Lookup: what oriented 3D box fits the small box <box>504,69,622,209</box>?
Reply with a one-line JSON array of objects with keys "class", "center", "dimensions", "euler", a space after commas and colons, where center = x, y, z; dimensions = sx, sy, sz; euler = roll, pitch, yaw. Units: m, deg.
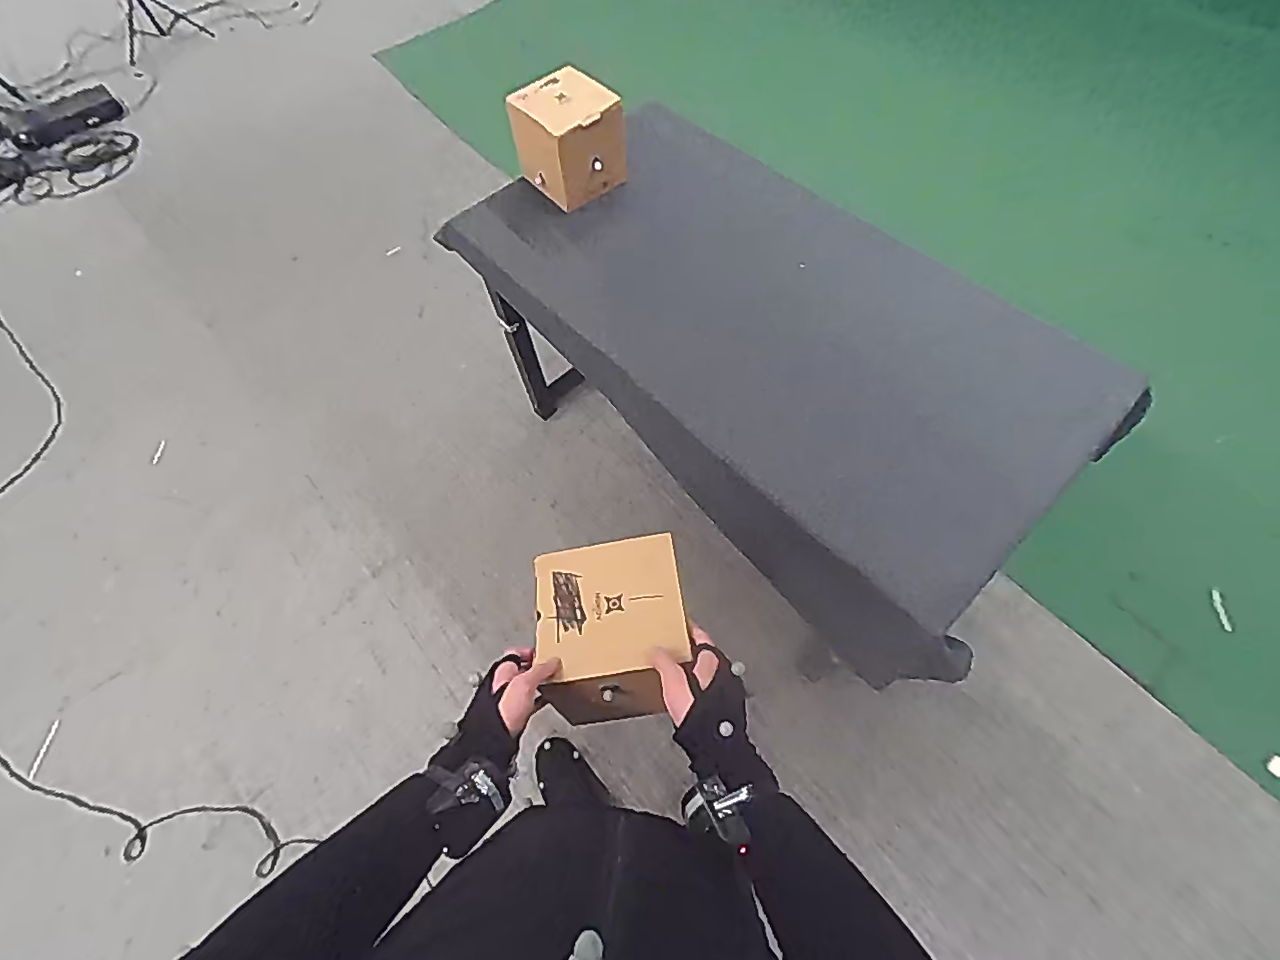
[{"class": "small box", "center": [-0.151, -0.704, 1.133], "dimensions": [0.168, 0.176, 0.179], "euler": [-38, 69, -15]}]

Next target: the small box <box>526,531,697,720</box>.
[{"class": "small box", "center": [-0.031, 0.188, 0.680], "dimensions": [0.179, 0.176, 0.168], "euler": [-10, 51, 3]}]
